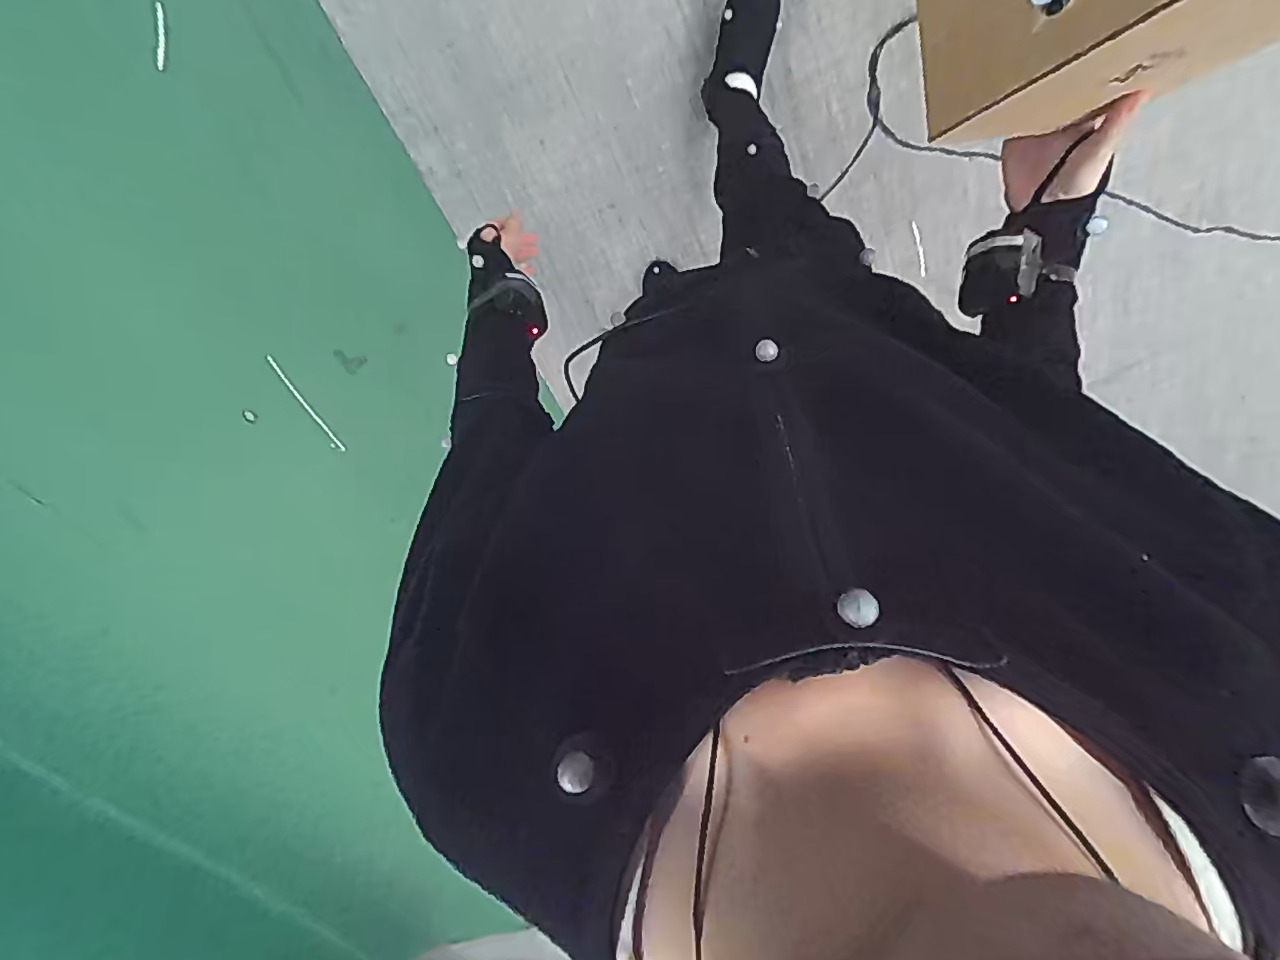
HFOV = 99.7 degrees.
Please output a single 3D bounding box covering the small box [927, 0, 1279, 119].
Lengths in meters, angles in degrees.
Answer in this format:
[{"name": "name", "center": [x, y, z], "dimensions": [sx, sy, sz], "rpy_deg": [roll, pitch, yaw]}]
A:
[{"name": "small box", "center": [0.297, -0.345, 0.316], "dimensions": [0.168, 0.179, 0.176], "rpy_deg": [-14, 100, -16]}]
